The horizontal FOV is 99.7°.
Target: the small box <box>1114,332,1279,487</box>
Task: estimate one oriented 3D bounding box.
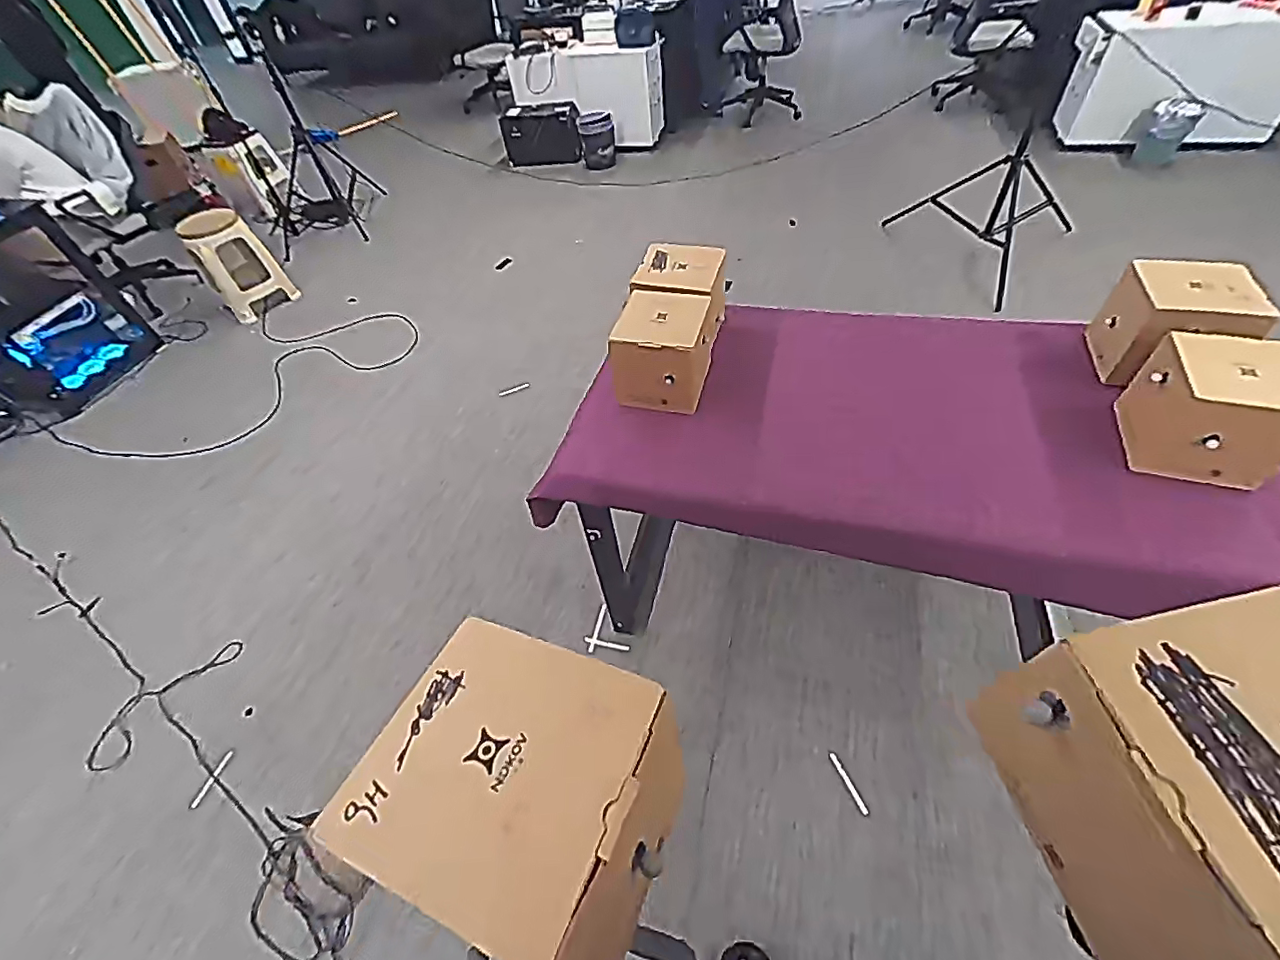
[{"bbox_3d":[0.919,-0.112,0.877,0.168,0.176,0.179,12,52,18],"label":"small box"}]

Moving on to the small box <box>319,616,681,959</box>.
[{"bbox_3d":[-0.077,0.236,0.402,0.179,0.176,0.168,13,47,22],"label":"small box"}]

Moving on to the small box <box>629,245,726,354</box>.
[{"bbox_3d":[0.088,-0.404,1.217,0.179,0.176,0.168,11,54,14],"label":"small box"}]

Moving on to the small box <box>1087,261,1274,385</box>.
[{"bbox_3d":[0.978,-0.285,1.006,0.179,0.176,0.168,10,53,14],"label":"small box"}]
